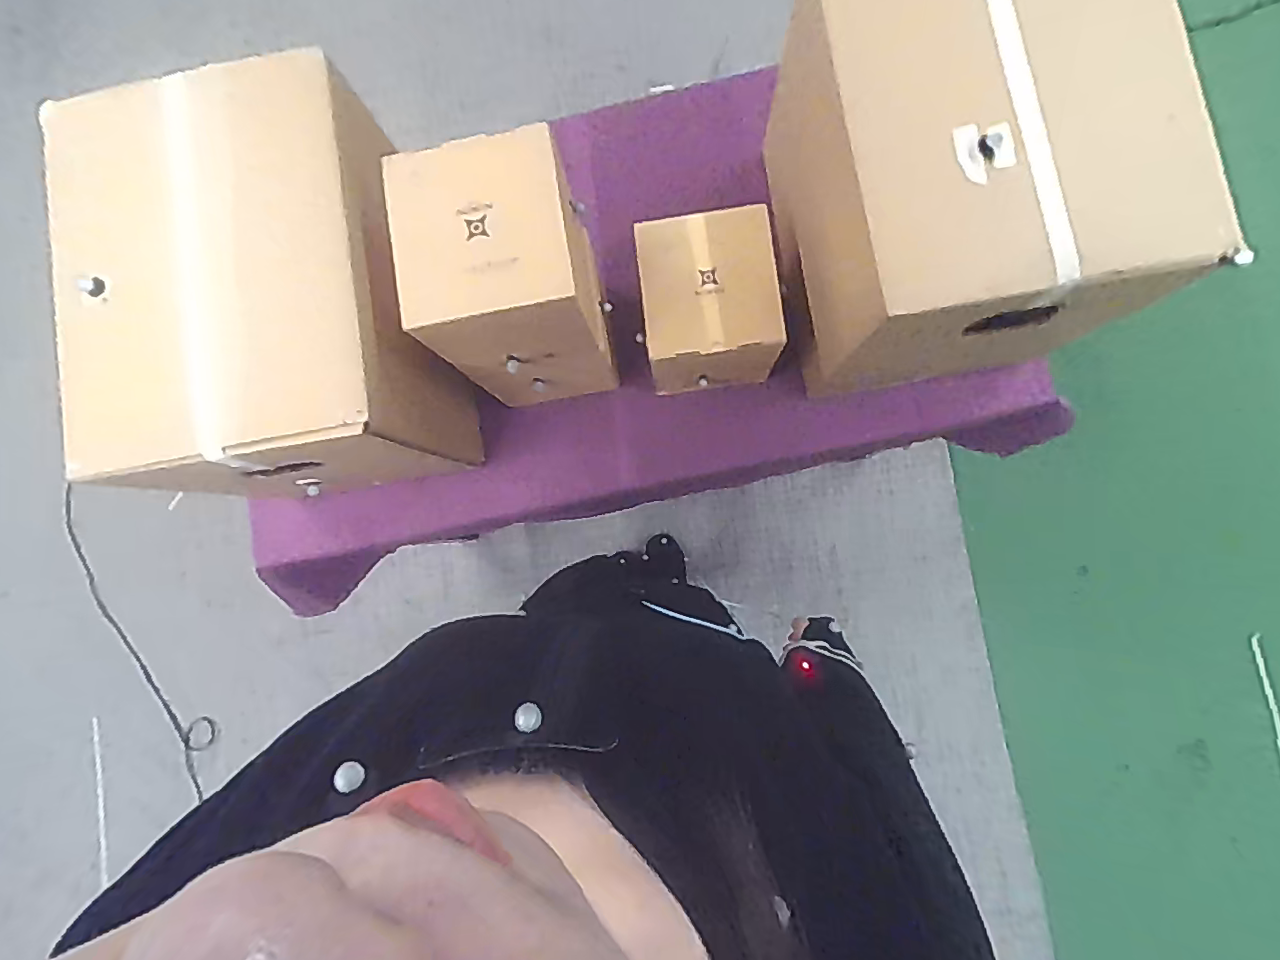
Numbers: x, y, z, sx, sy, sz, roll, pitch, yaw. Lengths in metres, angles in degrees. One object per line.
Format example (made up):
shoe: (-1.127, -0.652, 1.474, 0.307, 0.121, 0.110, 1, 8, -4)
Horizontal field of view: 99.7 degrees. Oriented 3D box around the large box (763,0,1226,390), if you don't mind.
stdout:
large box: (0.361, -0.359, 0.662, 0.320, 0.320, 0.408, -9, 85, 3)
